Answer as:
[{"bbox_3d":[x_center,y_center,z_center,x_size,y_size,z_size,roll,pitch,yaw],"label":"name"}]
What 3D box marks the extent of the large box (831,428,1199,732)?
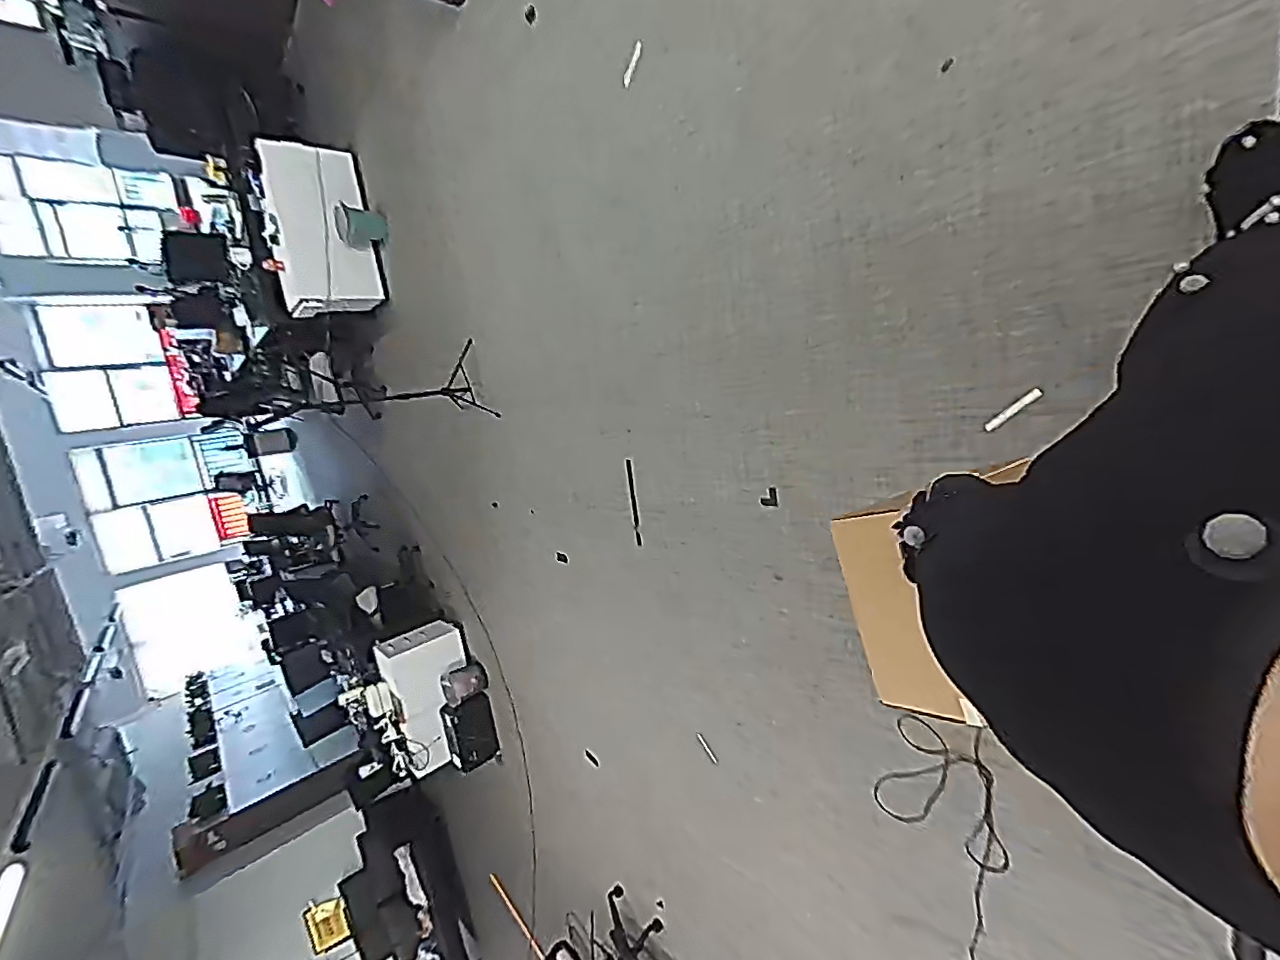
[{"bbox_3d":[0.588,0.132,0.856,0.320,0.408,0.320,-21,85,59],"label":"large box"}]
